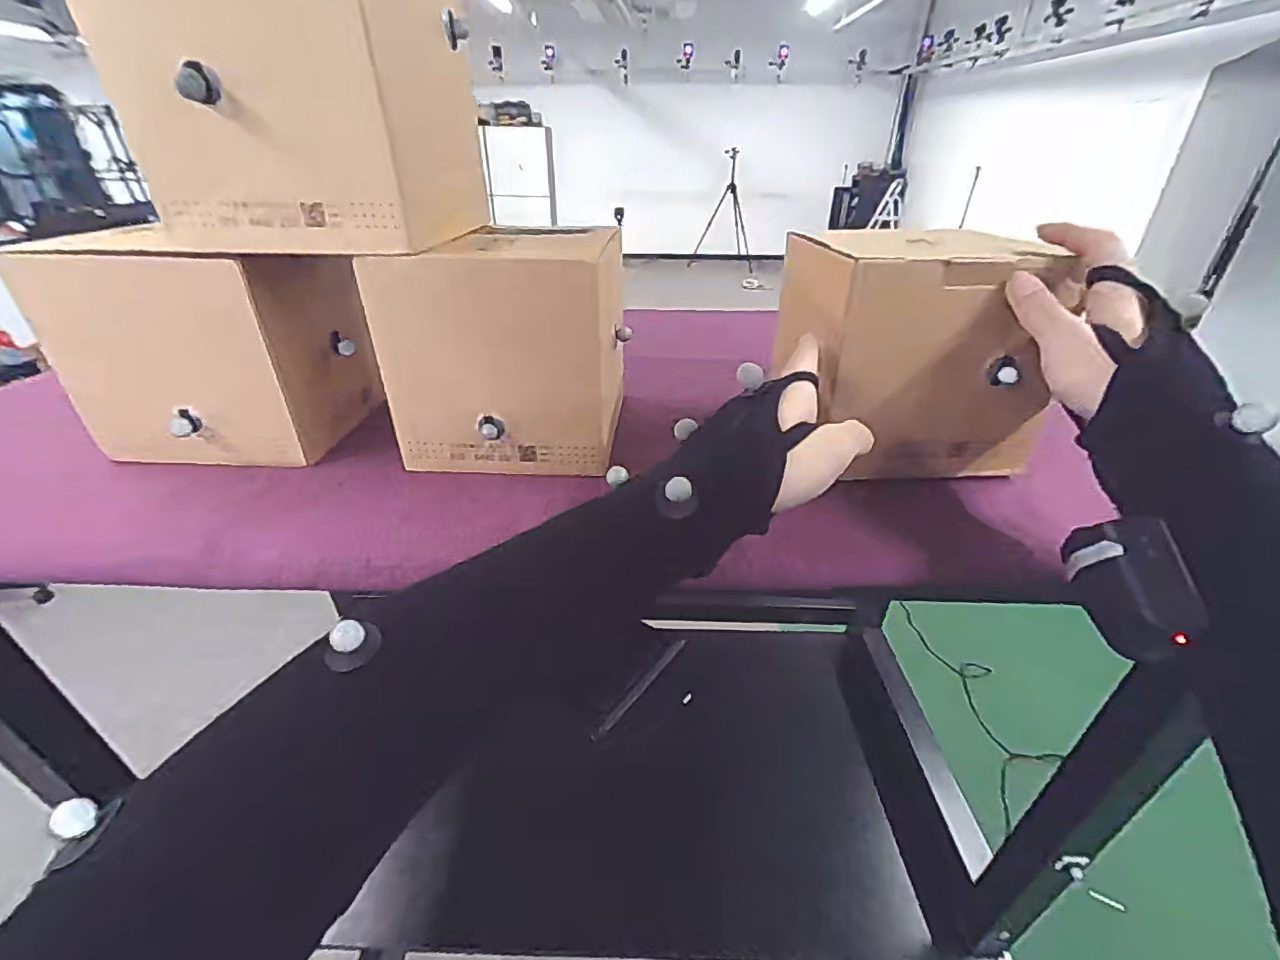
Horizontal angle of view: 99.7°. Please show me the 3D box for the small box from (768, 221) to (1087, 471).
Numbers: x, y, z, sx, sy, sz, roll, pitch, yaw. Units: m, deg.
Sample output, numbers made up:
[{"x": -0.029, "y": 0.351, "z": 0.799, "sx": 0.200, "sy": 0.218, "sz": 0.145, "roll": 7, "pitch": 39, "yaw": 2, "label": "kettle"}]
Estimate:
[{"x": 0.211, "y": -0.117, "z": 0.460, "sx": 0.168, "sy": 0.176, "sz": 0.179, "roll": -1, "pitch": 30, "yaw": 1, "label": "small box"}]

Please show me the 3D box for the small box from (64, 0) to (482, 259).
[{"x": -0.226, "y": -0.260, "z": 0.389, "sx": 0.168, "sy": 0.176, "sz": 0.179, "roll": 1, "pitch": 32, "yaw": 3, "label": "small box"}]

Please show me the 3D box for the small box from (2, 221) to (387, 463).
[{"x": -0.355, "y": -0.125, "z": 0.481, "sx": 0.179, "sy": 0.176, "sz": 0.168, "roll": 2, "pitch": 32, "yaw": 2, "label": "small box"}]
